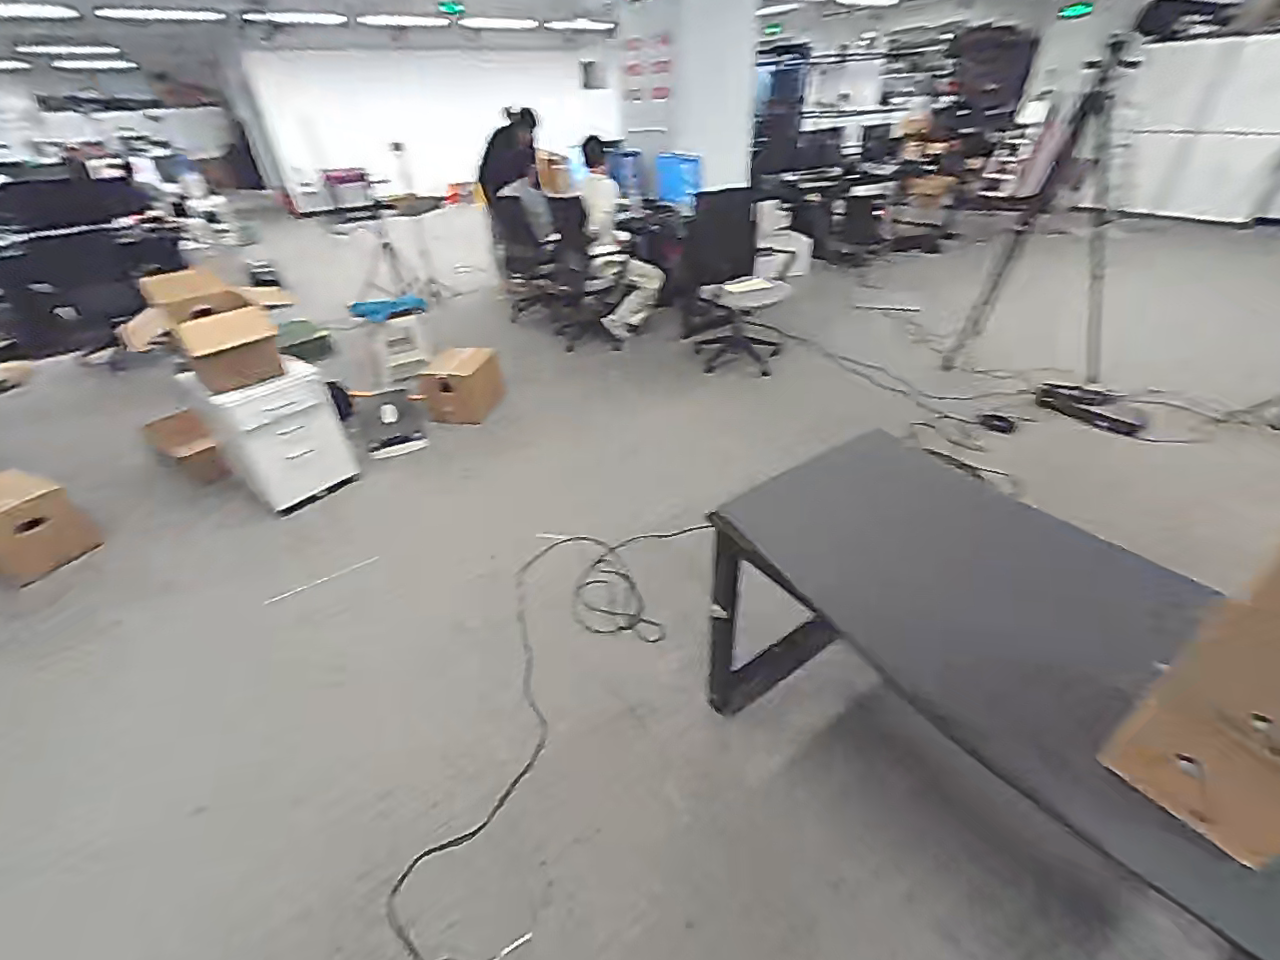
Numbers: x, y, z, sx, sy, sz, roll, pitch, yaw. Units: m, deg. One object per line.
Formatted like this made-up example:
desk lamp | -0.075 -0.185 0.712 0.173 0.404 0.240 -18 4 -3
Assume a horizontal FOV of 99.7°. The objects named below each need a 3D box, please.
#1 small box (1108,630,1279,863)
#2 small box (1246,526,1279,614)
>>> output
small box | 0.752 0.336 0.692 0.179 0.176 0.168 -21 39 -27
small box | 0.742 0.063 0.510 0.179 0.176 0.168 -23 39 -30
